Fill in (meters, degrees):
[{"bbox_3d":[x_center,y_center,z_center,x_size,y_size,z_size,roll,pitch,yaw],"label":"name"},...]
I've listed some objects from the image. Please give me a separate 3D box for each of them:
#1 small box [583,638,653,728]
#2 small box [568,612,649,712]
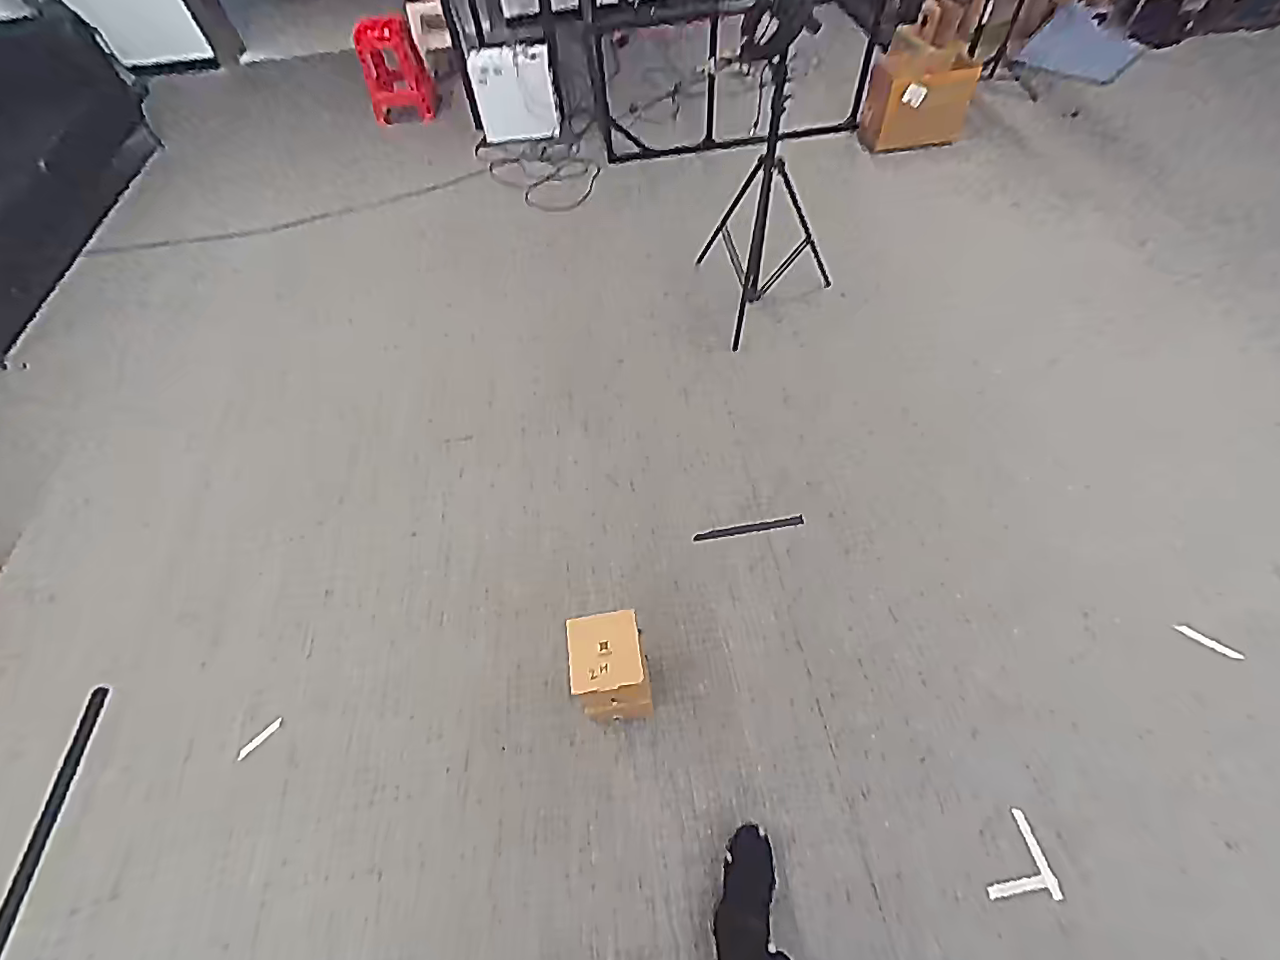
[{"bbox_3d":[-0.060,0.535,1.424,0.168,0.176,0.179,-9,56,0],"label":"small box"},{"bbox_3d":[-0.074,0.437,1.293,0.168,0.176,0.179,-10,57,0],"label":"small box"}]
